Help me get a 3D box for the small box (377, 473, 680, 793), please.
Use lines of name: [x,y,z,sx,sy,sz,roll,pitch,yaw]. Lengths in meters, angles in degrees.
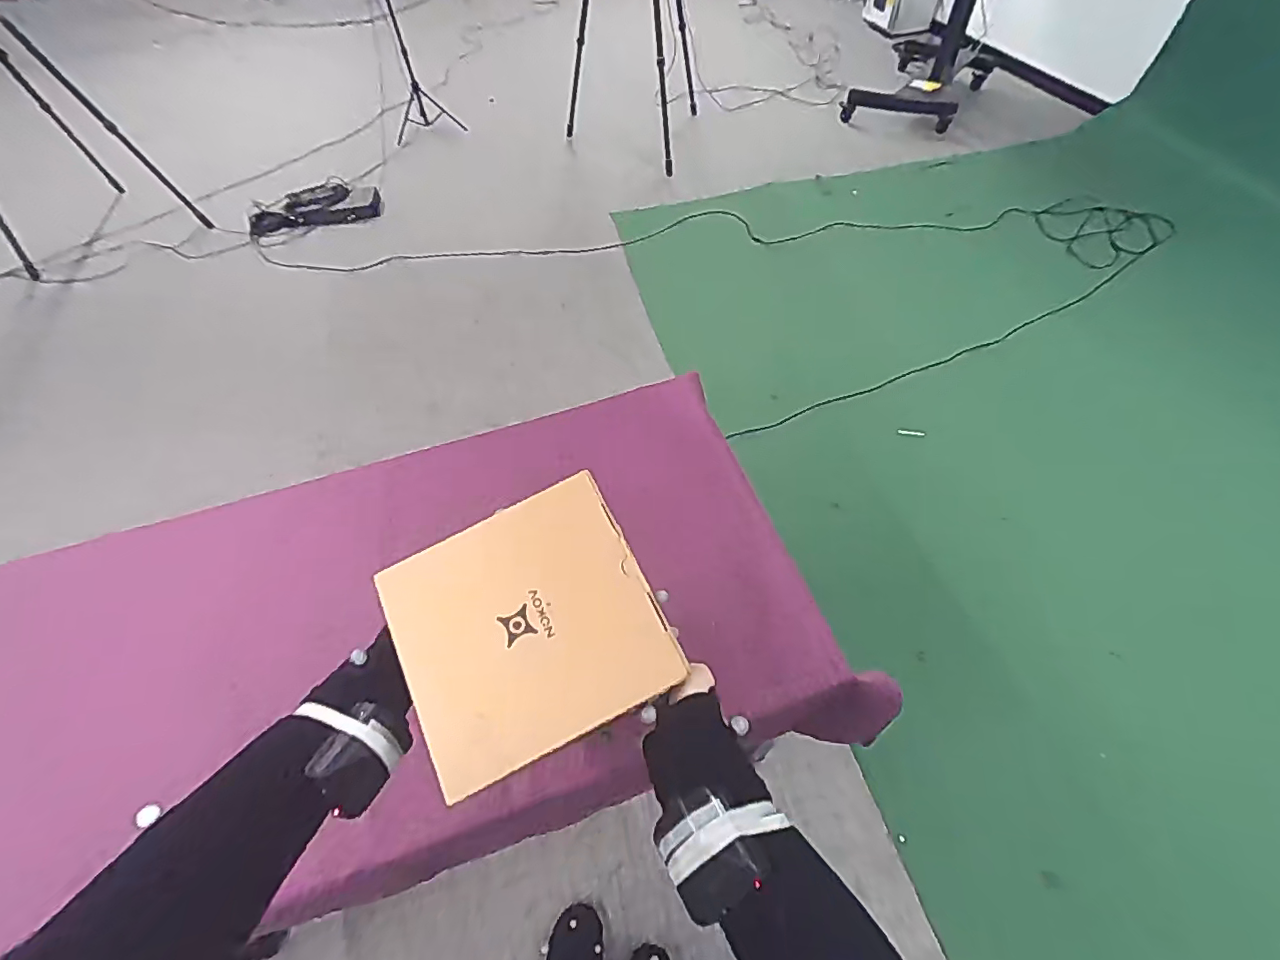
small box: [-0.076,0.127,0.452,0.179,0.176,0.168,-27,69,-6]
